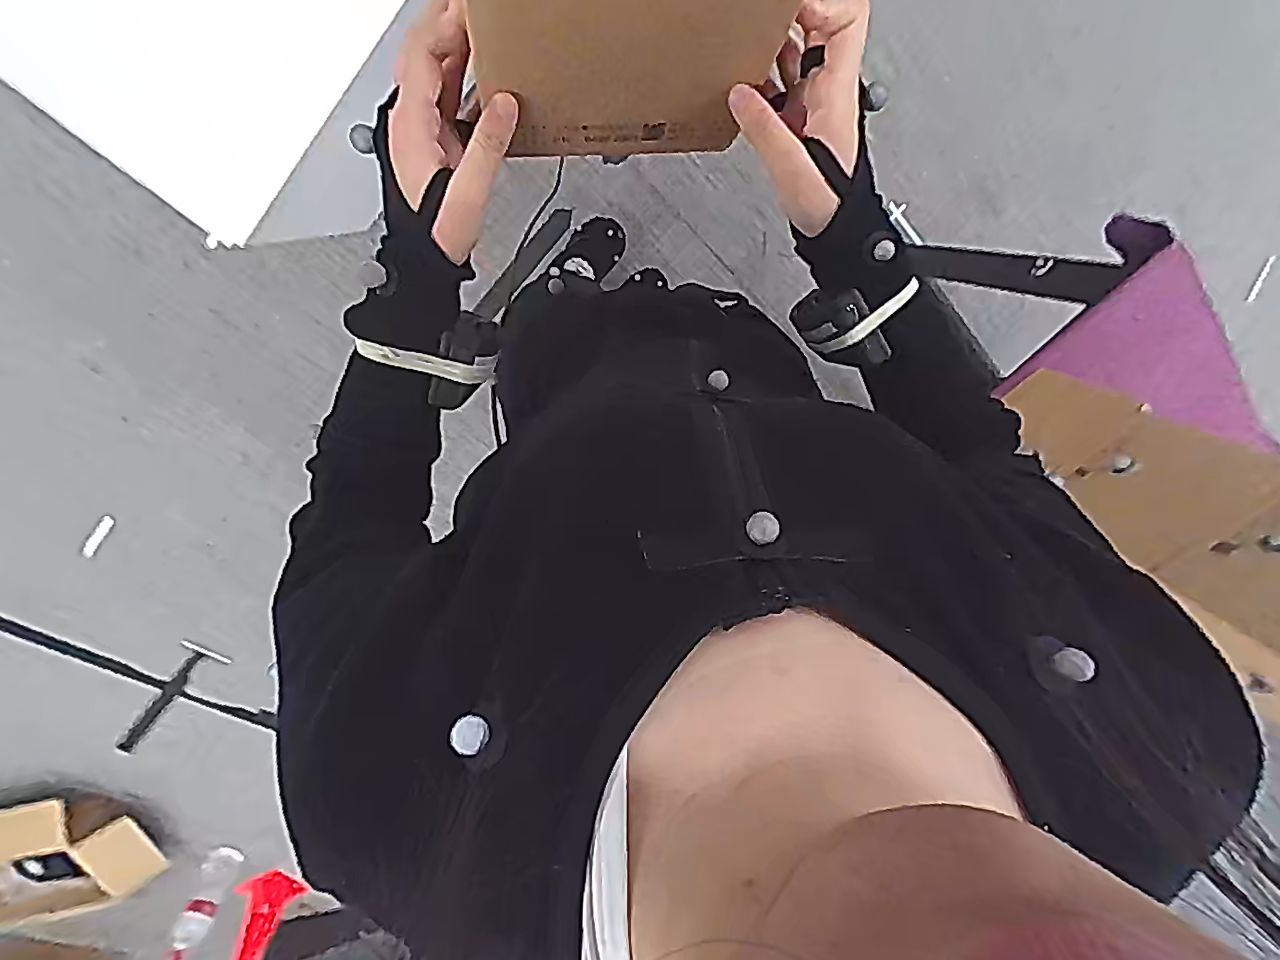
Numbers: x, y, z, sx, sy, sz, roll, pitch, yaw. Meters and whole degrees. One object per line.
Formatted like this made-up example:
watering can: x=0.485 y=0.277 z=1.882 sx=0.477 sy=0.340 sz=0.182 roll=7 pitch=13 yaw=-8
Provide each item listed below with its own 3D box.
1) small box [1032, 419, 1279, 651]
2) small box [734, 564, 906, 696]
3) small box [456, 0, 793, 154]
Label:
small box: x=0.622 y=0.057 z=0.638 sx=0.168 sy=0.176 sz=0.179 roll=-42 pitch=114 yaw=12
small box: x=0.284 y=0.269 z=0.876 sx=0.179 sy=0.176 sz=0.168 roll=39 pitch=103 yaw=-23
small box: x=-0.019 y=-0.308 z=0.281 sx=0.168 sy=0.176 sz=0.179 roll=-9 pitch=85 yaw=-10
